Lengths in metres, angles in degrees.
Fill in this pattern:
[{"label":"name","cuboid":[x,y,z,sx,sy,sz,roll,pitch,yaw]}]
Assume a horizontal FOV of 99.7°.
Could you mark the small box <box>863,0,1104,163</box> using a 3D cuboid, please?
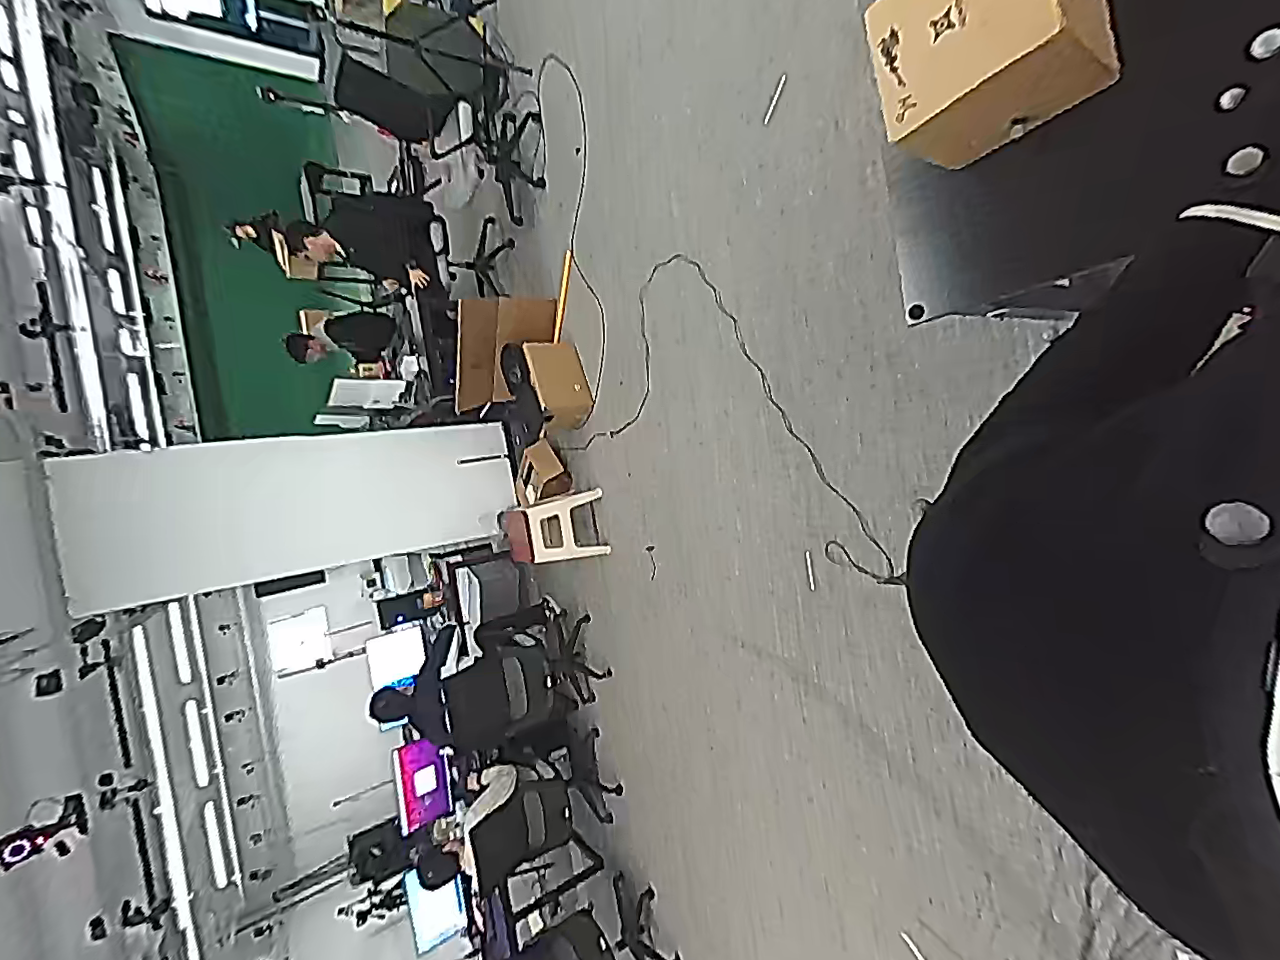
[{"label":"small box","cuboid":[0.389,-0.497,0.612,0.179,0.176,0.168,-11,89,55]}]
